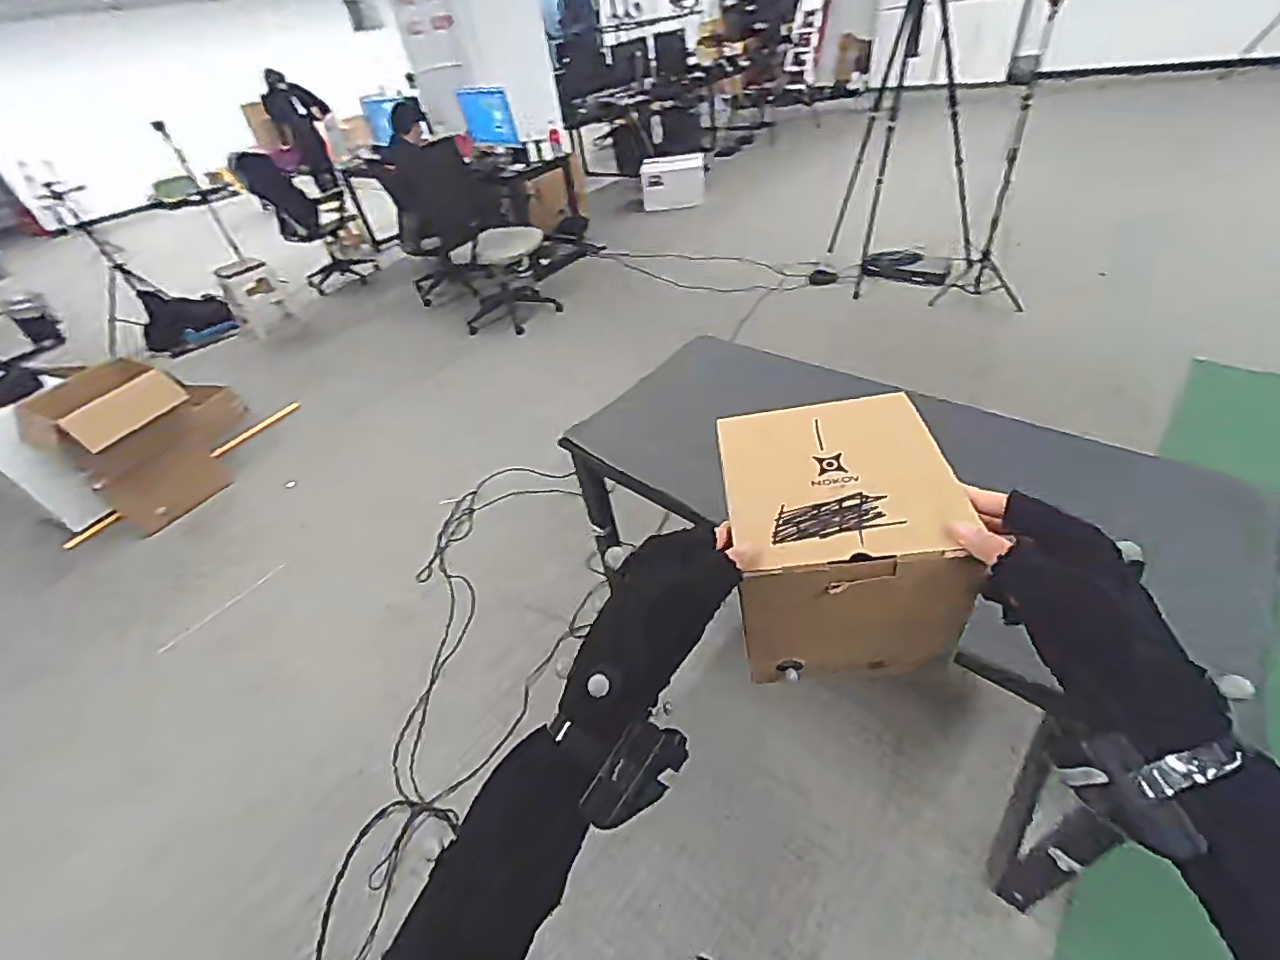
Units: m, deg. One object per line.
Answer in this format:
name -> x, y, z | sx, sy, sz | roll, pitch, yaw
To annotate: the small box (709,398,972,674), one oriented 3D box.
small box -> 0.157, 0.056, 0.476 | 0.168, 0.176, 0.179 | -8, 42, 8
